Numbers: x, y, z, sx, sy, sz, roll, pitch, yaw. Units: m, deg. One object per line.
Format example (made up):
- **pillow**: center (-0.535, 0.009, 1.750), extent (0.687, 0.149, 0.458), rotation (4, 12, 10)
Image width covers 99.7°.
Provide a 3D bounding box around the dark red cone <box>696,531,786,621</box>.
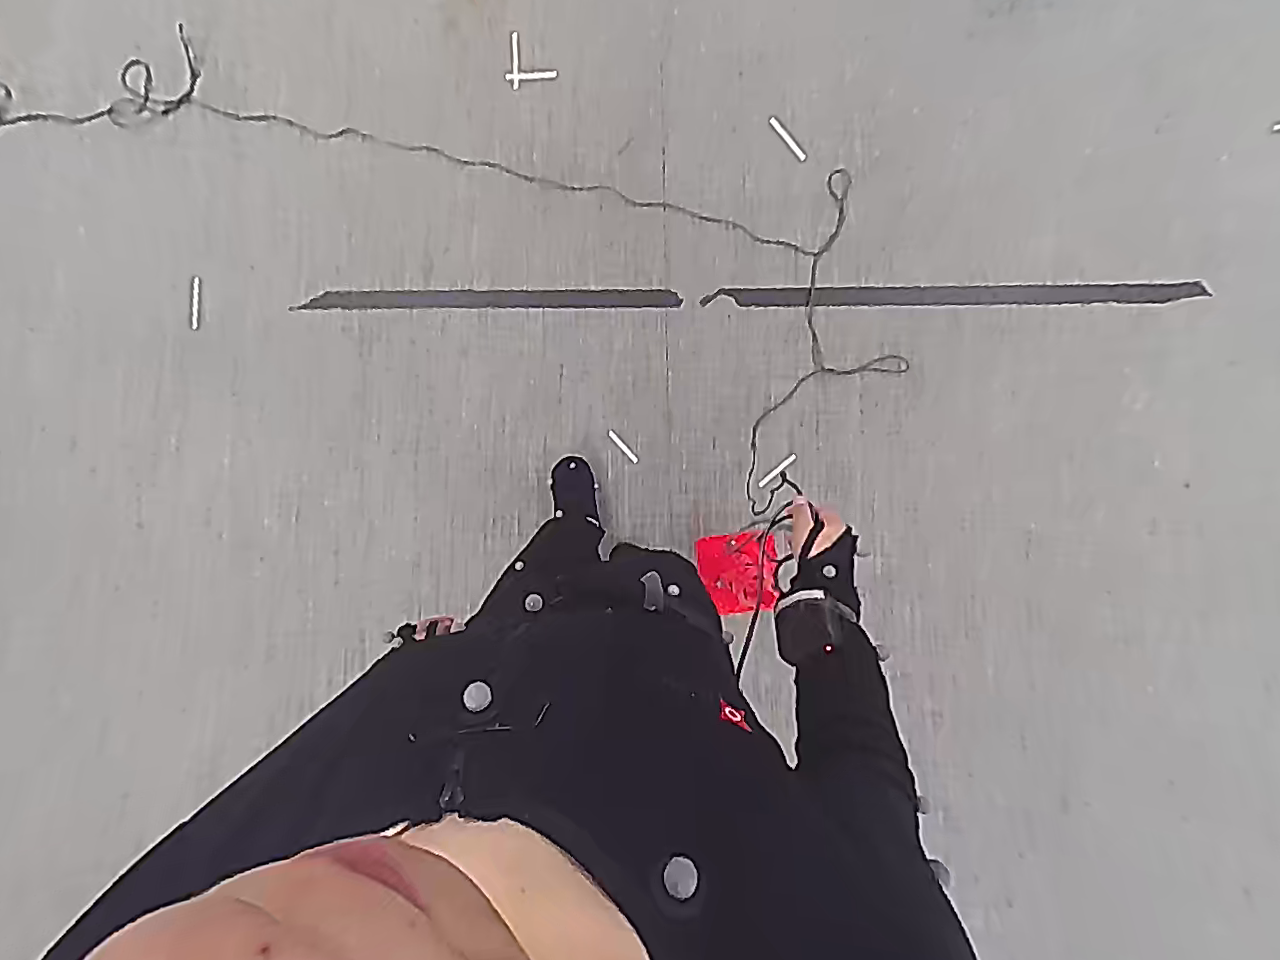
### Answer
- **dark red cone**: center (0.237, 0.223, 1.150), extent (0.202, 0.394, 0.201), rotation (-8, 86, 2)
